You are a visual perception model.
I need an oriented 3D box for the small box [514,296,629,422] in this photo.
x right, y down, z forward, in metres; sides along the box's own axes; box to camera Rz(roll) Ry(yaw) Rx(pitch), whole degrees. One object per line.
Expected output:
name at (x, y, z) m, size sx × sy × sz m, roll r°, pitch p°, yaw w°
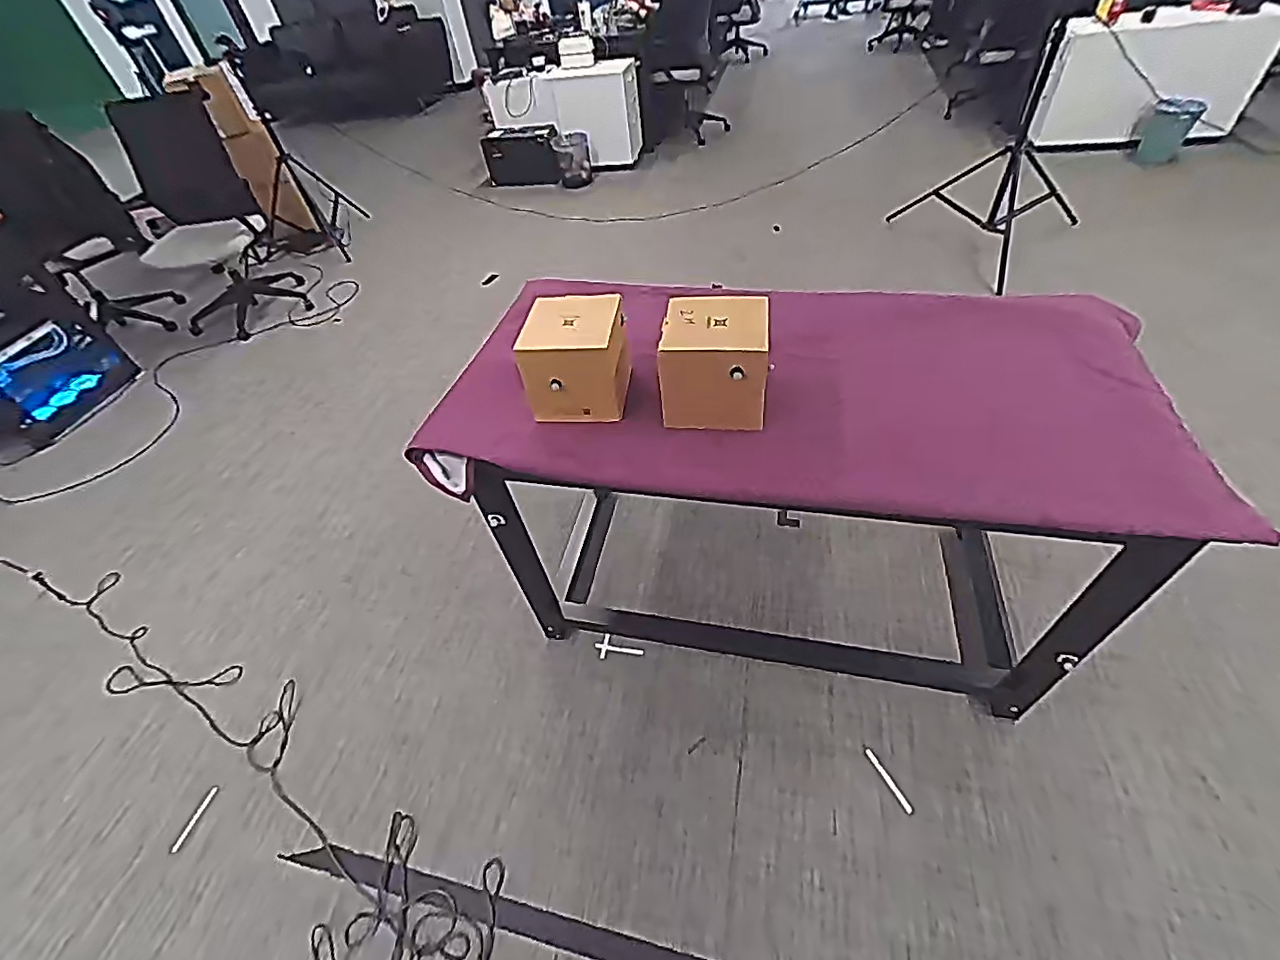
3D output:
small box at (-0.117, -0.222, 1.017) m, size 0.168 × 0.176 × 0.179 m, roll 0°, pitch 47°, yaw 9°

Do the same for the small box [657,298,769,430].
small box at (0.132, -0.203, 0.959) m, size 0.179 × 0.176 × 0.168 m, roll 2°, pitch 47°, yaw 10°
